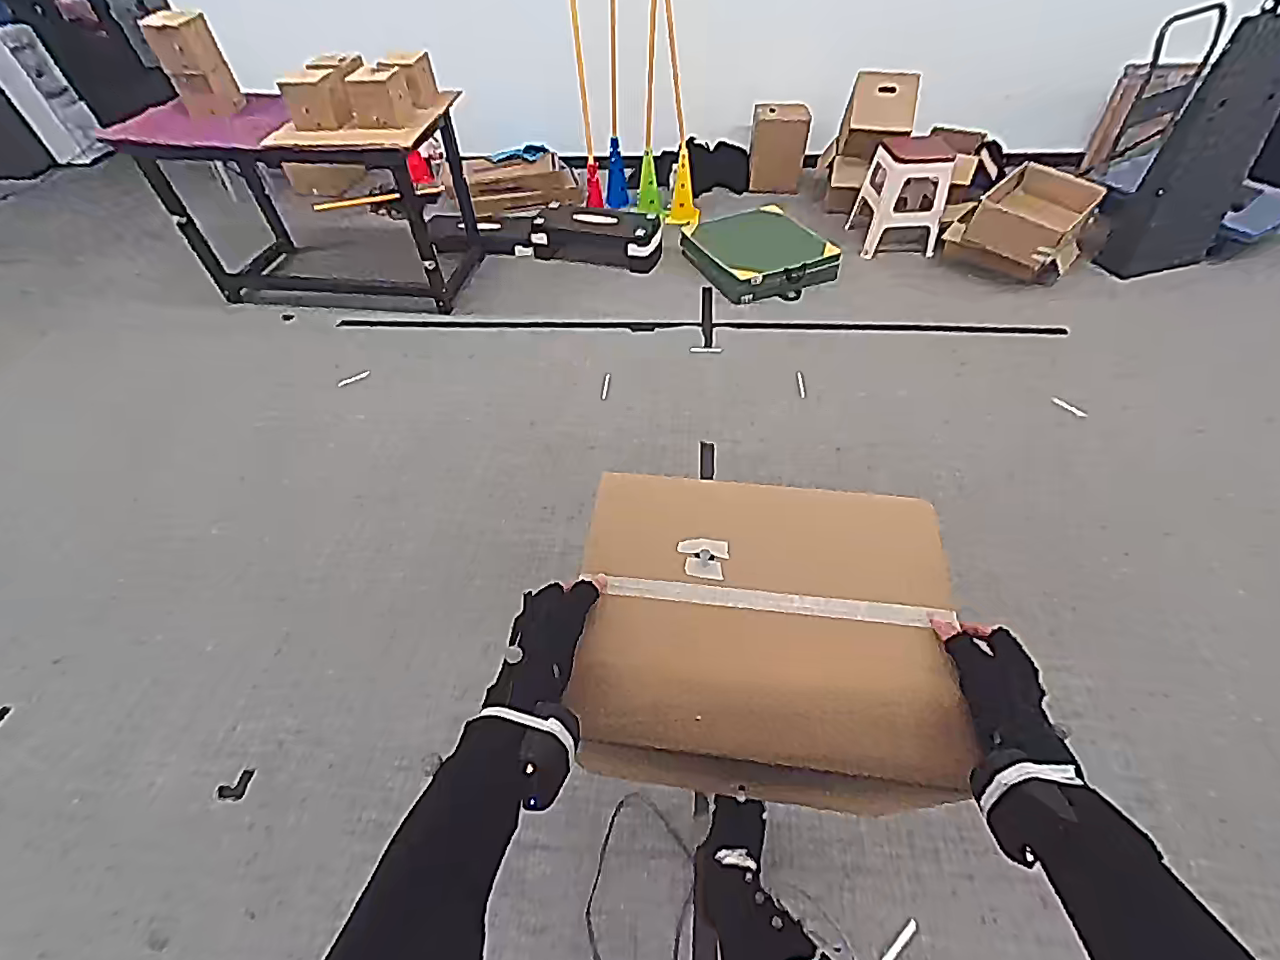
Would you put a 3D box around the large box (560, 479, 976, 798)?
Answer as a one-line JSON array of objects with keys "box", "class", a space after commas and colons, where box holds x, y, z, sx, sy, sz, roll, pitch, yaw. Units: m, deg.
[{"box": [0.142, 0.219, 0.724, 0.408, 0.320, 0.320, 4, 55, 6], "class": "large box"}]
